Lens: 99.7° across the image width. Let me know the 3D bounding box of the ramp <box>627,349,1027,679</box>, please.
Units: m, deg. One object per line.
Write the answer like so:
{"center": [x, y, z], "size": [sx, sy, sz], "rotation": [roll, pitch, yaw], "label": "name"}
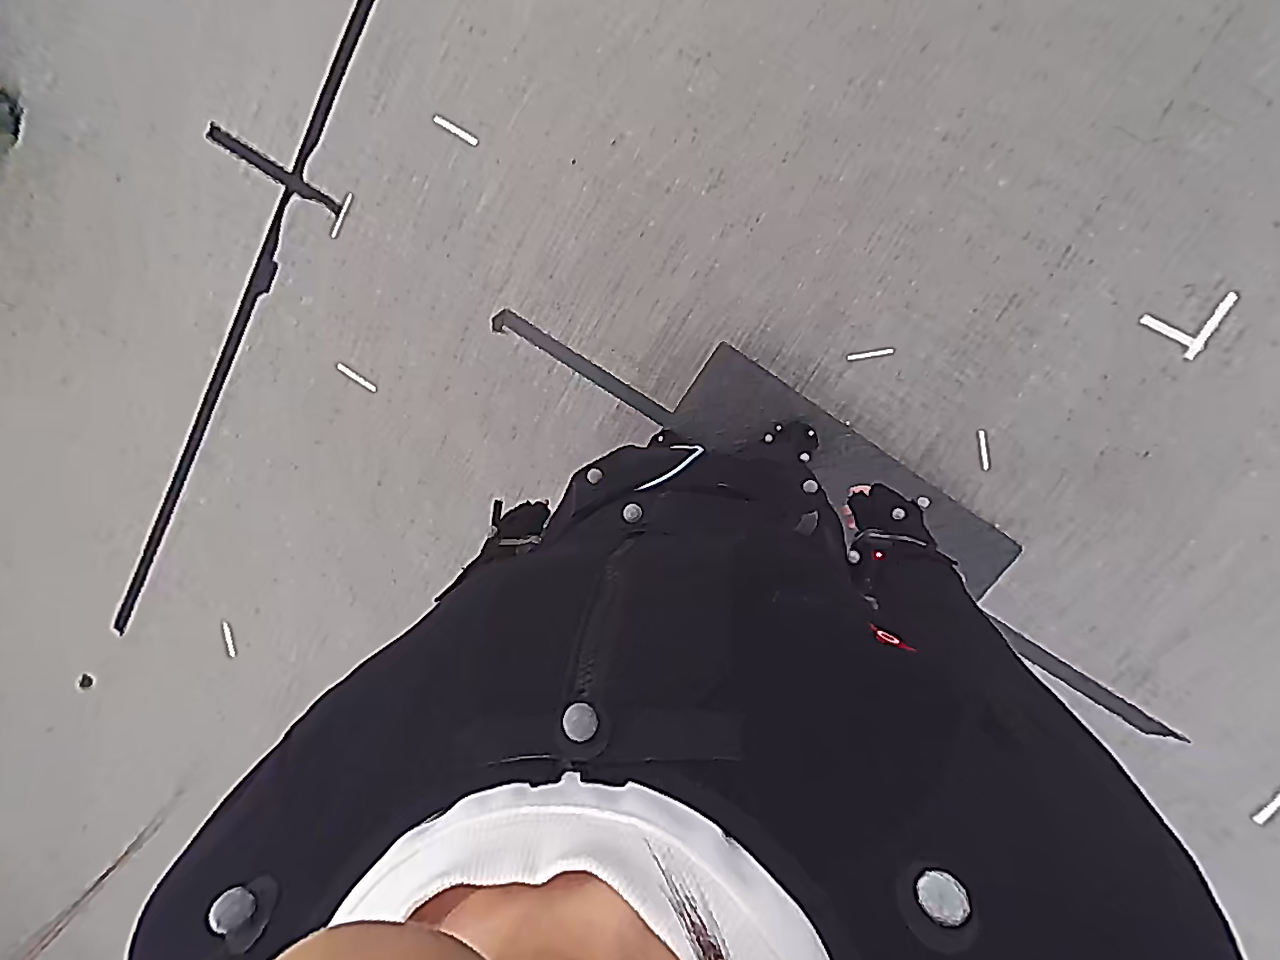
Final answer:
{"center": [0.510, 0.115, 1.461], "size": [0.991, 0.206, 0.509], "rotation": [31, 99, 5], "label": "ramp"}
